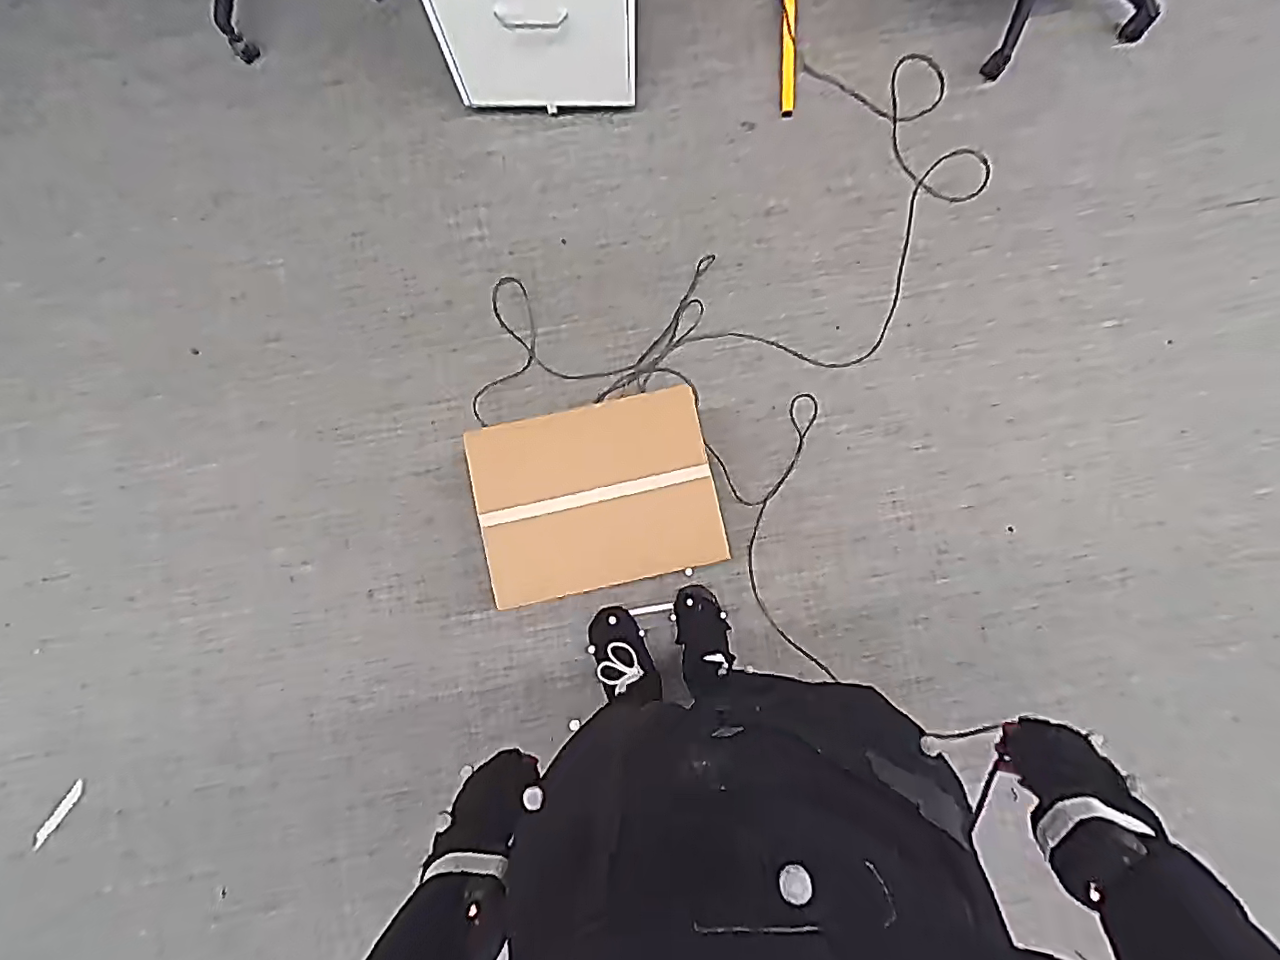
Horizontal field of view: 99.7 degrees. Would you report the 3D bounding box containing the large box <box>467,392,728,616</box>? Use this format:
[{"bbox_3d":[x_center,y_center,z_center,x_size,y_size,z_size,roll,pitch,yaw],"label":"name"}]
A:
[{"bbox_3d":[-0.075,0.048,1.079,0.408,0.320,0.320,-13,85,-1],"label":"large box"}]
